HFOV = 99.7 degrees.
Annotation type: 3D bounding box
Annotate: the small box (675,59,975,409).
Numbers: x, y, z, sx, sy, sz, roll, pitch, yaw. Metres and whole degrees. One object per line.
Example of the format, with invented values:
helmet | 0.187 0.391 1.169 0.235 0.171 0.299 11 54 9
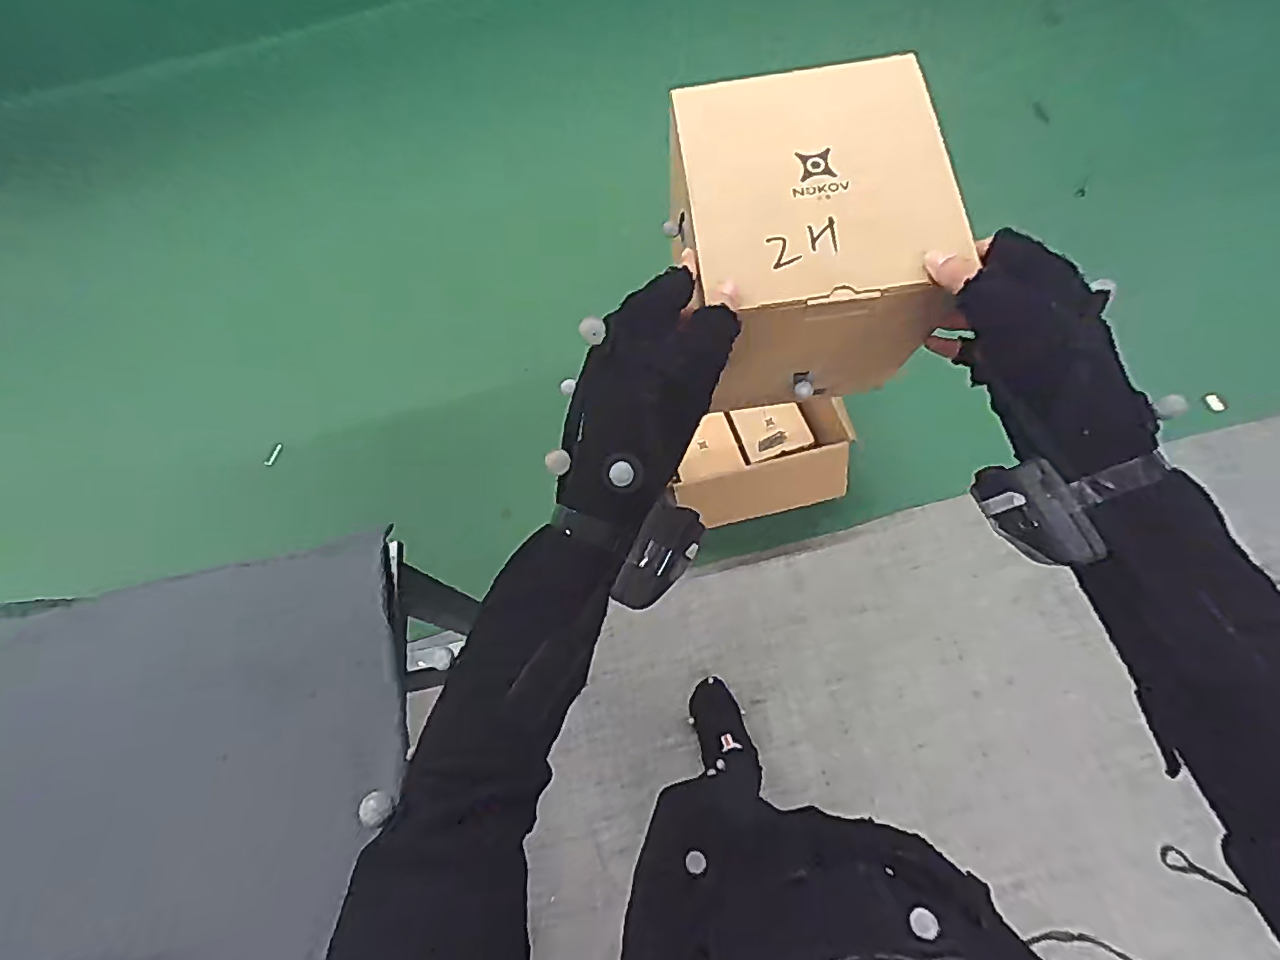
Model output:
small box | 0.117 -0.174 0.424 0.168 0.176 0.179 -7 75 3
